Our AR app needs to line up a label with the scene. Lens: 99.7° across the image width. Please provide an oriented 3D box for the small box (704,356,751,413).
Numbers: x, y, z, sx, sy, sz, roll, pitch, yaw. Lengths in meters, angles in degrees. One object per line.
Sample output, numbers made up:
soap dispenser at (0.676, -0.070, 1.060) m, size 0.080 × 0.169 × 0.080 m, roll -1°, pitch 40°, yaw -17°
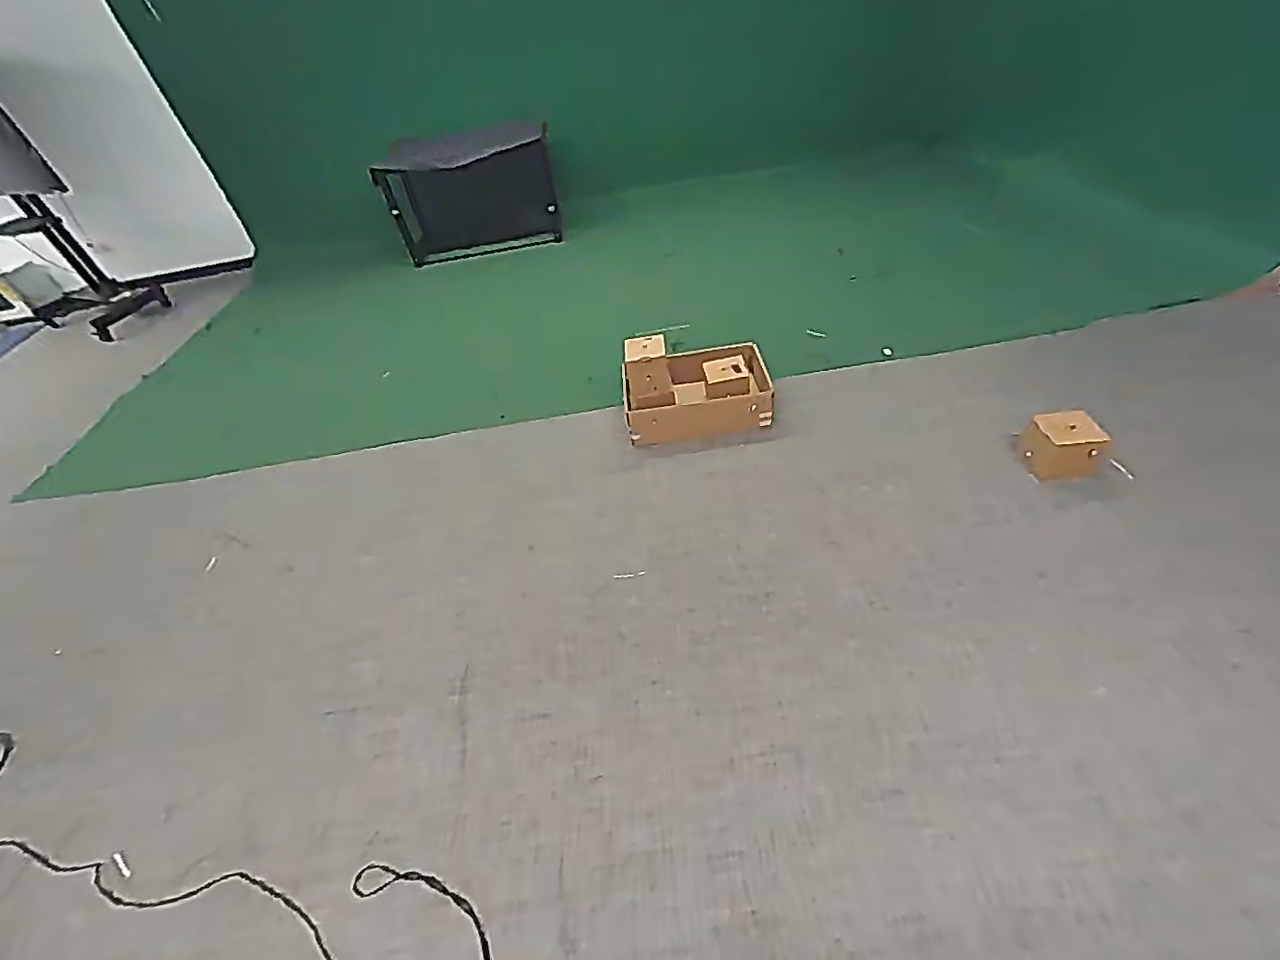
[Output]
small box at (0.379, -0.411, 2.341) m, size 0.179 × 0.176 × 0.168 m, roll -9°, pitch 44°, yaw 4°

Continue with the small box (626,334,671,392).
small box at (0.036, -0.479, 2.242) m, size 0.168 × 0.176 × 0.179 m, roll -7°, pitch 45°, yaw 4°

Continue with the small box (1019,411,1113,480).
small box at (1.479, -0.118, 1.890) m, size 0.179 × 0.176 × 0.168 m, roll -6°, pitch 43°, yaw 6°
